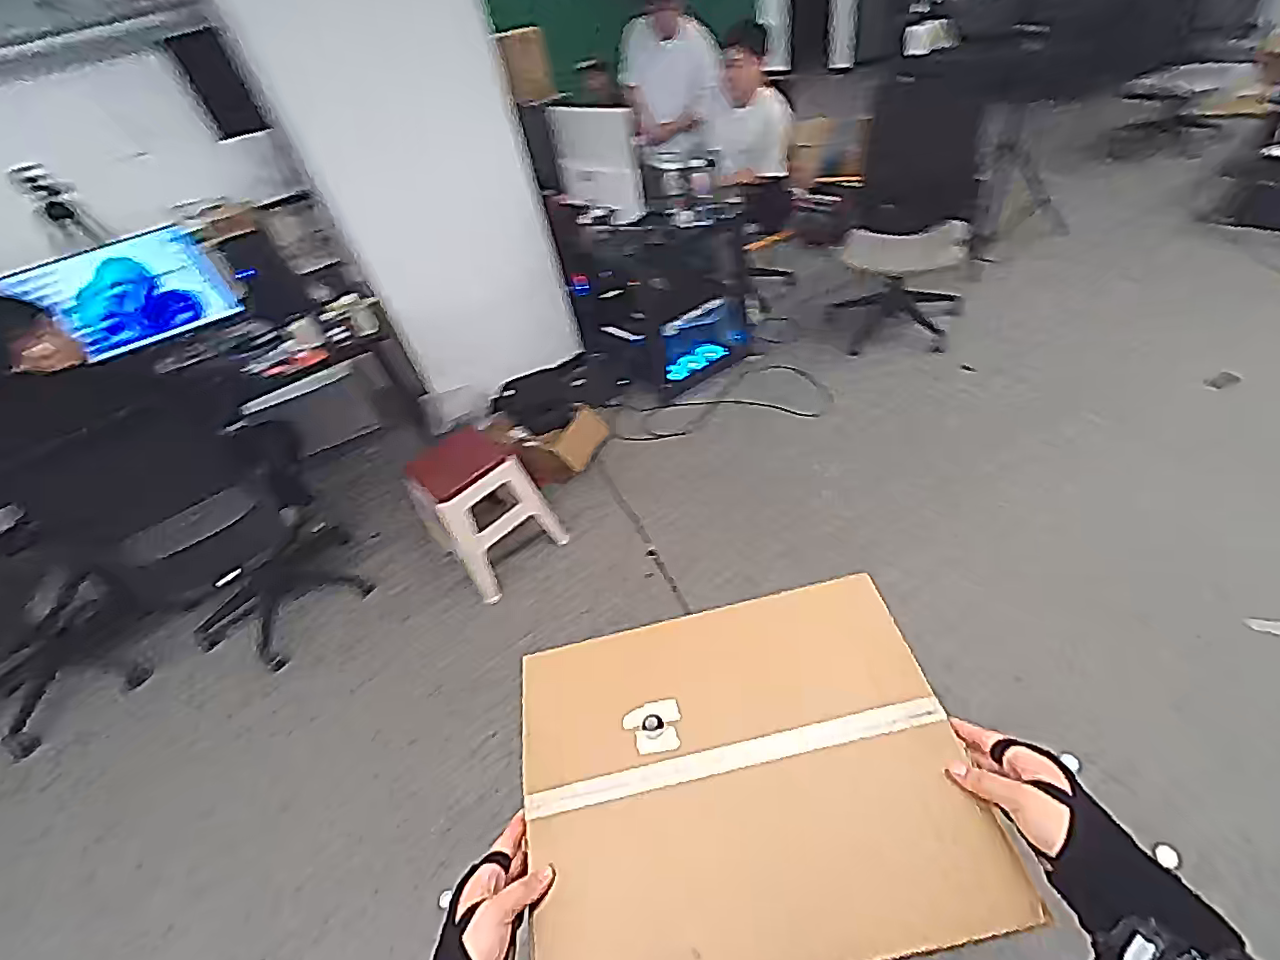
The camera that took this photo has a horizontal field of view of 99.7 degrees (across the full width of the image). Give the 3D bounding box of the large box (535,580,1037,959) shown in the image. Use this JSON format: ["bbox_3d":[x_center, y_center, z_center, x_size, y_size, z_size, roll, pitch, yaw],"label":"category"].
[{"bbox_3d":[0.125,0.368,0.631,0.408,0.320,0.320,-15,47,3],"label":"large box"}]
